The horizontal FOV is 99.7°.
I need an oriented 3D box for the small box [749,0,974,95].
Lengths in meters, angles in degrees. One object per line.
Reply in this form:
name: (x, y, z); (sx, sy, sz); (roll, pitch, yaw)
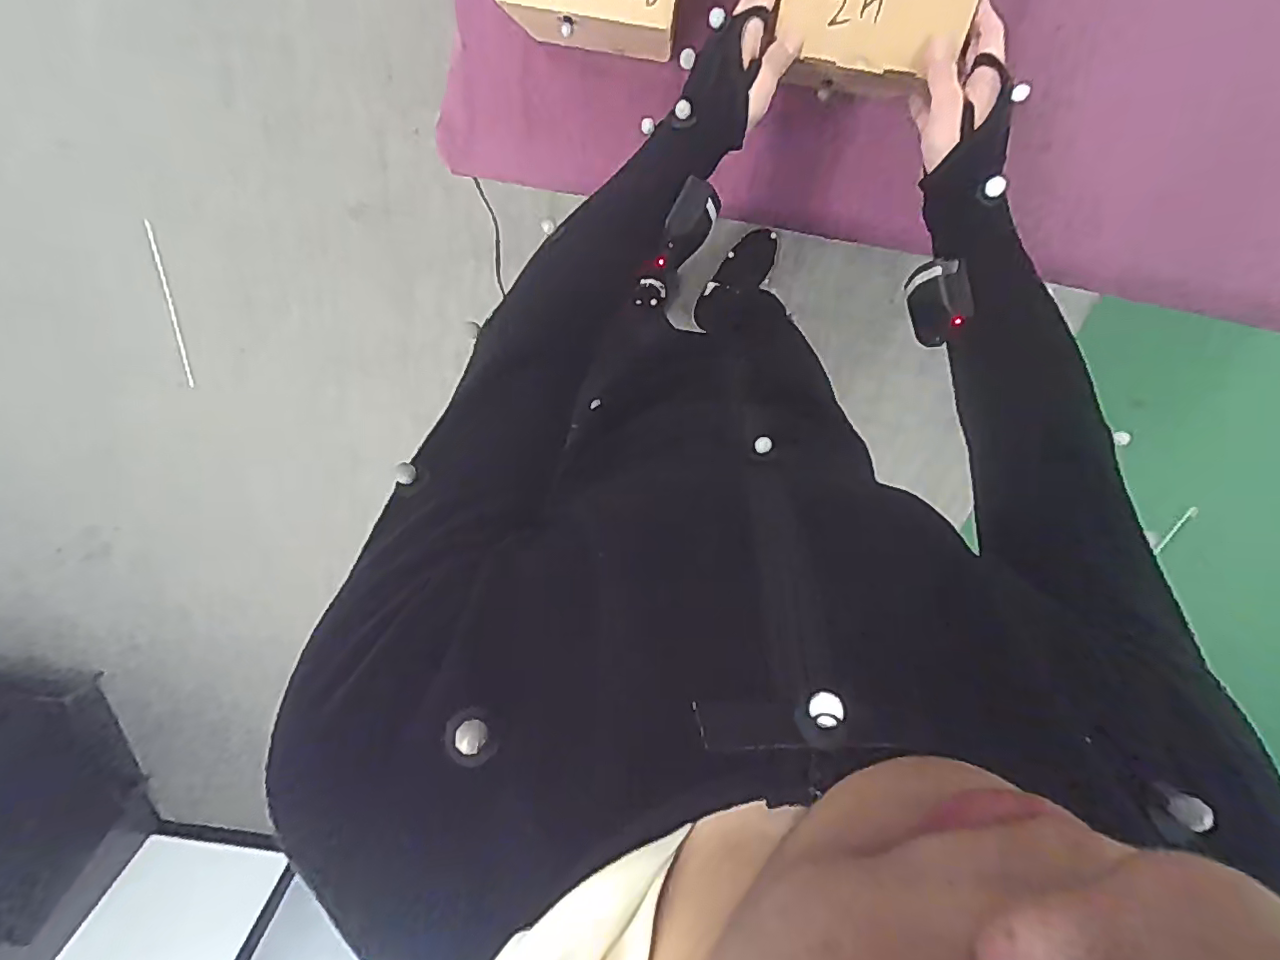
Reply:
small box: (0.207, -0.482, 0.501); (0.168, 0.176, 0.179); (8, 121, -2)

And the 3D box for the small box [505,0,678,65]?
small box: (-0.039, -0.533, 0.517); (0.168, 0.176, 0.179); (10, 119, -1)
